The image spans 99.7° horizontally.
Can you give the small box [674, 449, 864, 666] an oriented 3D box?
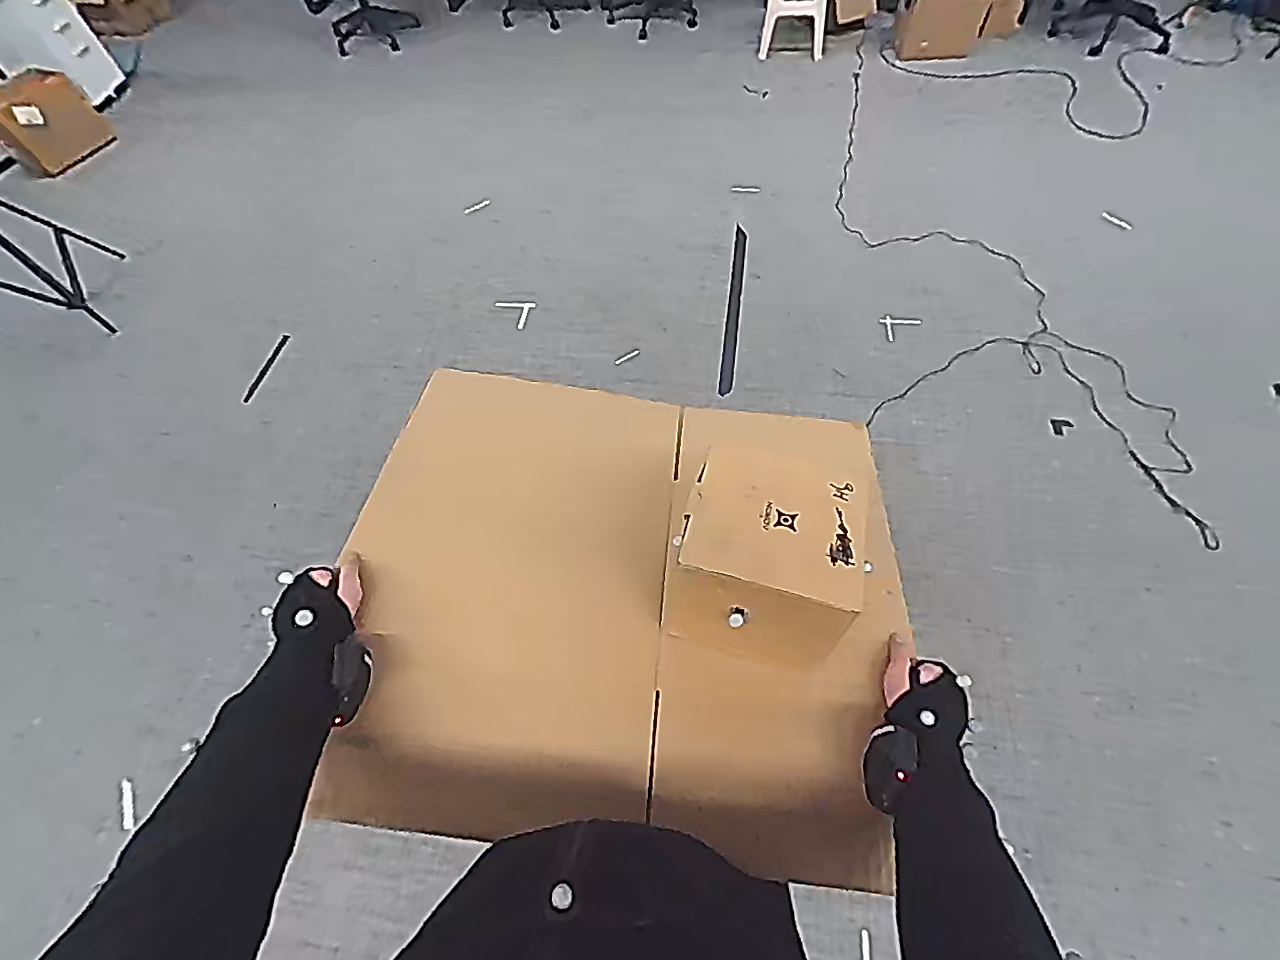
[{"bbox_3d":[0.141,0.092,0.621,0.179,0.176,0.168,13,53,10],"label":"small box"}]
